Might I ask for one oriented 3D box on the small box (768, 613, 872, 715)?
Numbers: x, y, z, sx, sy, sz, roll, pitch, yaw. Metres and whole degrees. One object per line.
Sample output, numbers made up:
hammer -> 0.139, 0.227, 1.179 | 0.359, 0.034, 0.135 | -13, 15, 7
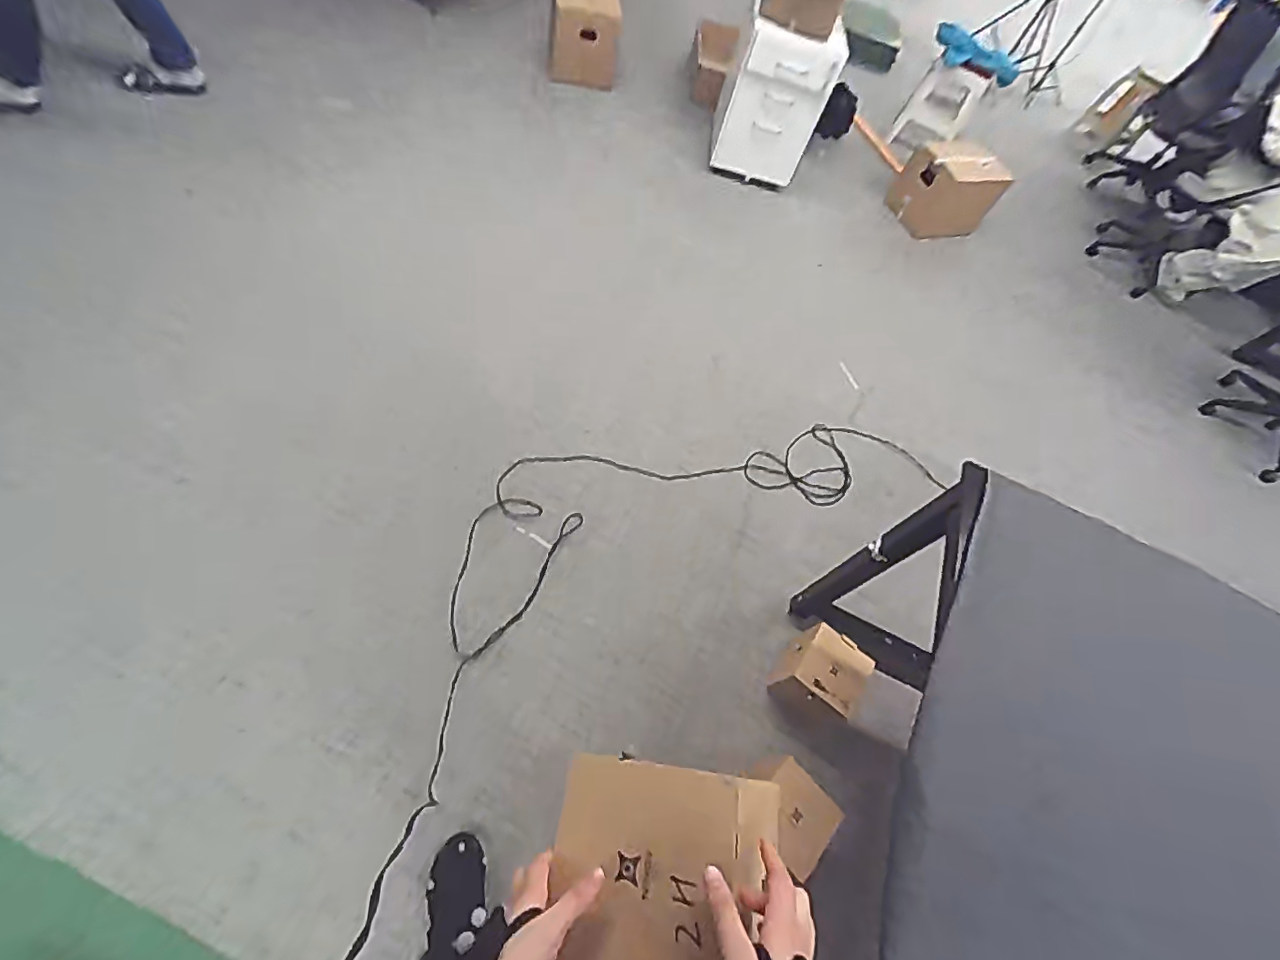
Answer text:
small box -> 0.464, 0.485, 1.414 | 0.168, 0.176, 0.179 | 37, 58, 9

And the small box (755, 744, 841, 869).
small box -> 0.312, 0.736, 1.229 | 0.168, 0.176, 0.179 | 45, 59, 12

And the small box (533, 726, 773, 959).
small box -> 0.026, 0.352, 0.540 | 0.179, 0.176, 0.168 | -4, 63, 24
